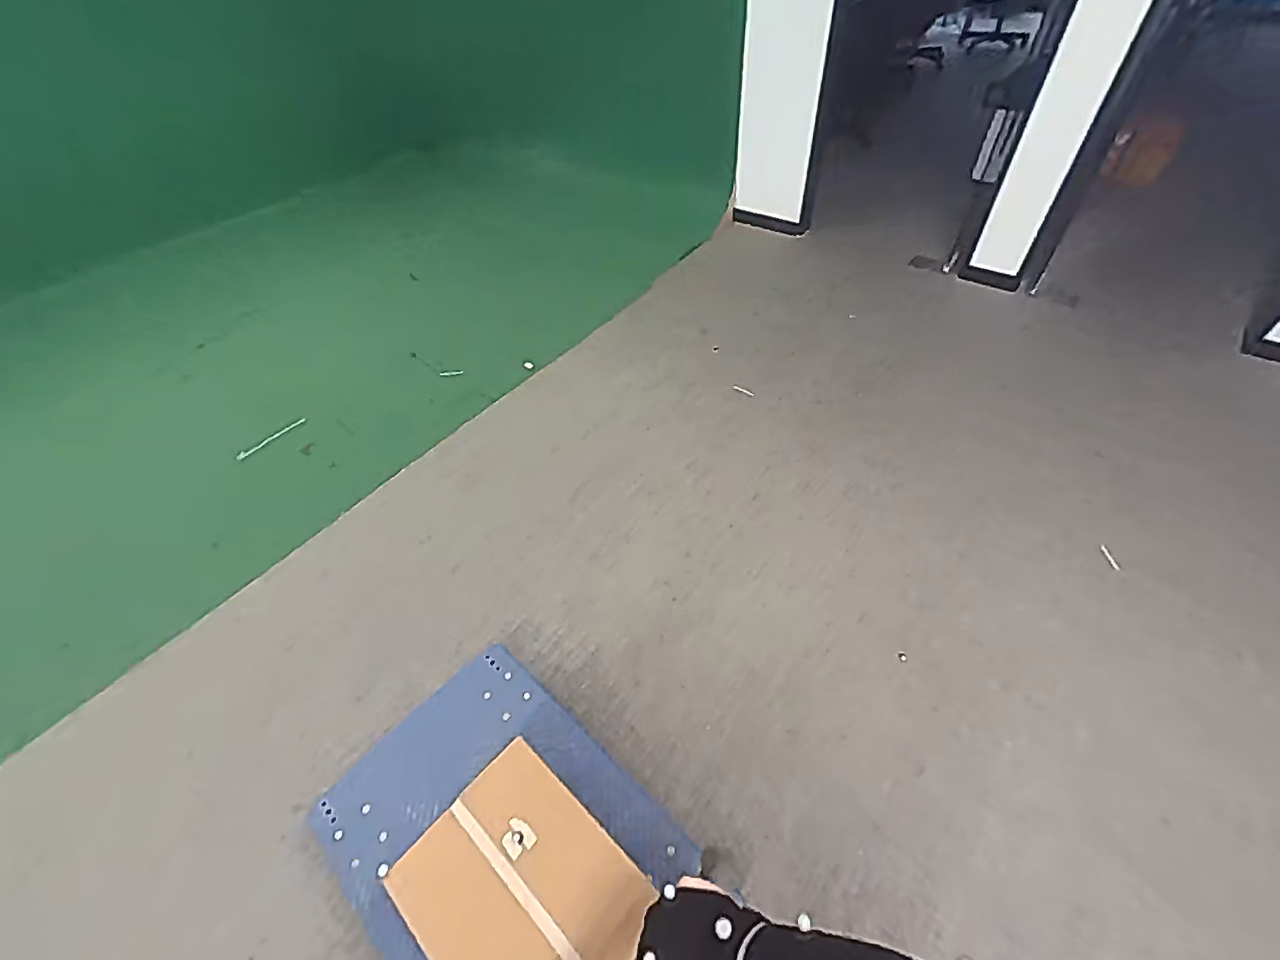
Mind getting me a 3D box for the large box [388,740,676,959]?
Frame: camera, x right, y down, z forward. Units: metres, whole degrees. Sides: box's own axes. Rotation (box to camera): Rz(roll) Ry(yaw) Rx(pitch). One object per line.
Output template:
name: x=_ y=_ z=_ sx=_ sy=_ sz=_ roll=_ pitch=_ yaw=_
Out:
large box: x=-0.182 y=0.795 z=1.031 sx=0.408 sy=0.320 sz=0.320 roll=32 pitch=59 yaw=29
